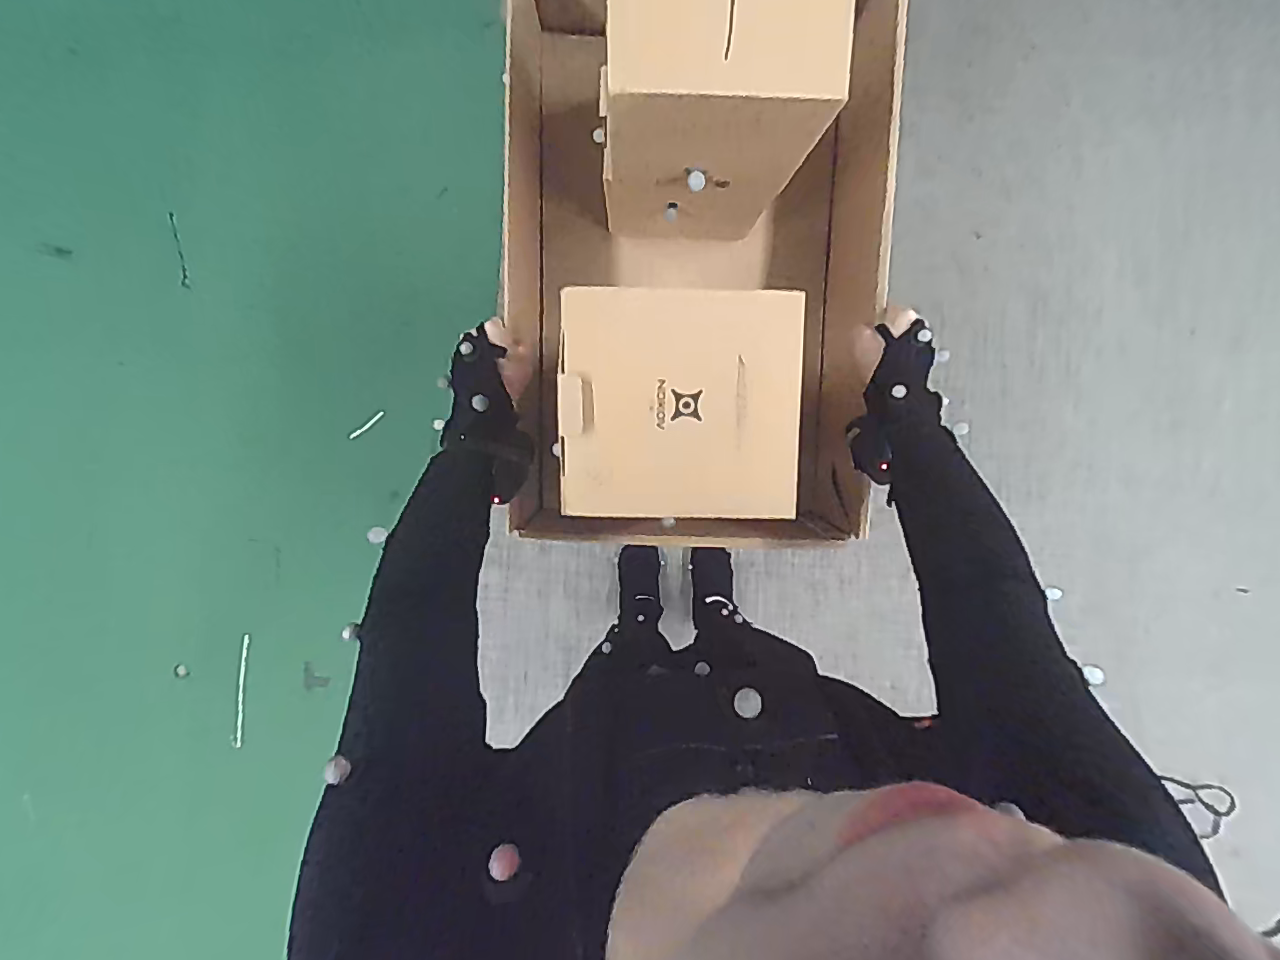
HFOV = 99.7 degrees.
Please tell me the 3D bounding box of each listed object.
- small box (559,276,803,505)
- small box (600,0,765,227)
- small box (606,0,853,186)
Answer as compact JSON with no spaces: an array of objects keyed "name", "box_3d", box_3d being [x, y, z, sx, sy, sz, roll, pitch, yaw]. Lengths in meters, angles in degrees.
[{"name":"small box","box_3d":[0.026,-0.072,0.472,0.179,0.176,0.168,0,98,-3]},{"name":"small box","box_3d":[0.052,-0.389,0.591,0.179,0.176,0.168,2,99,0]},{"name":"small box","box_3d":[0.057,-0.361,0.429,0.168,0.176,0.179,1,100,-2]}]
